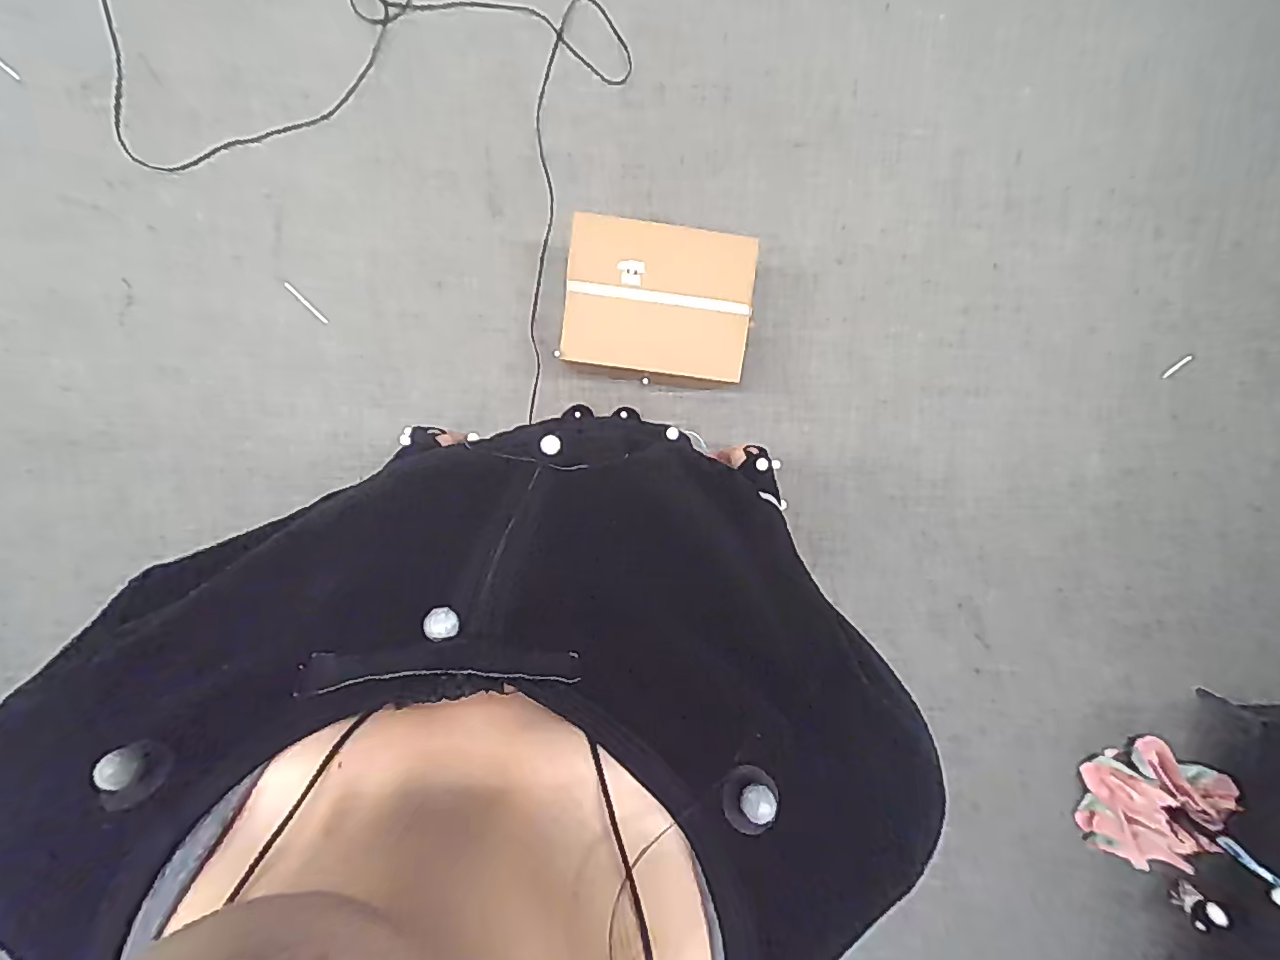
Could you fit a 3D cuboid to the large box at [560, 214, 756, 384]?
[{"bbox_3d":[0.035,-0.414,1.324,0.408,0.320,0.320,7,96,-3],"label":"large box"}]
